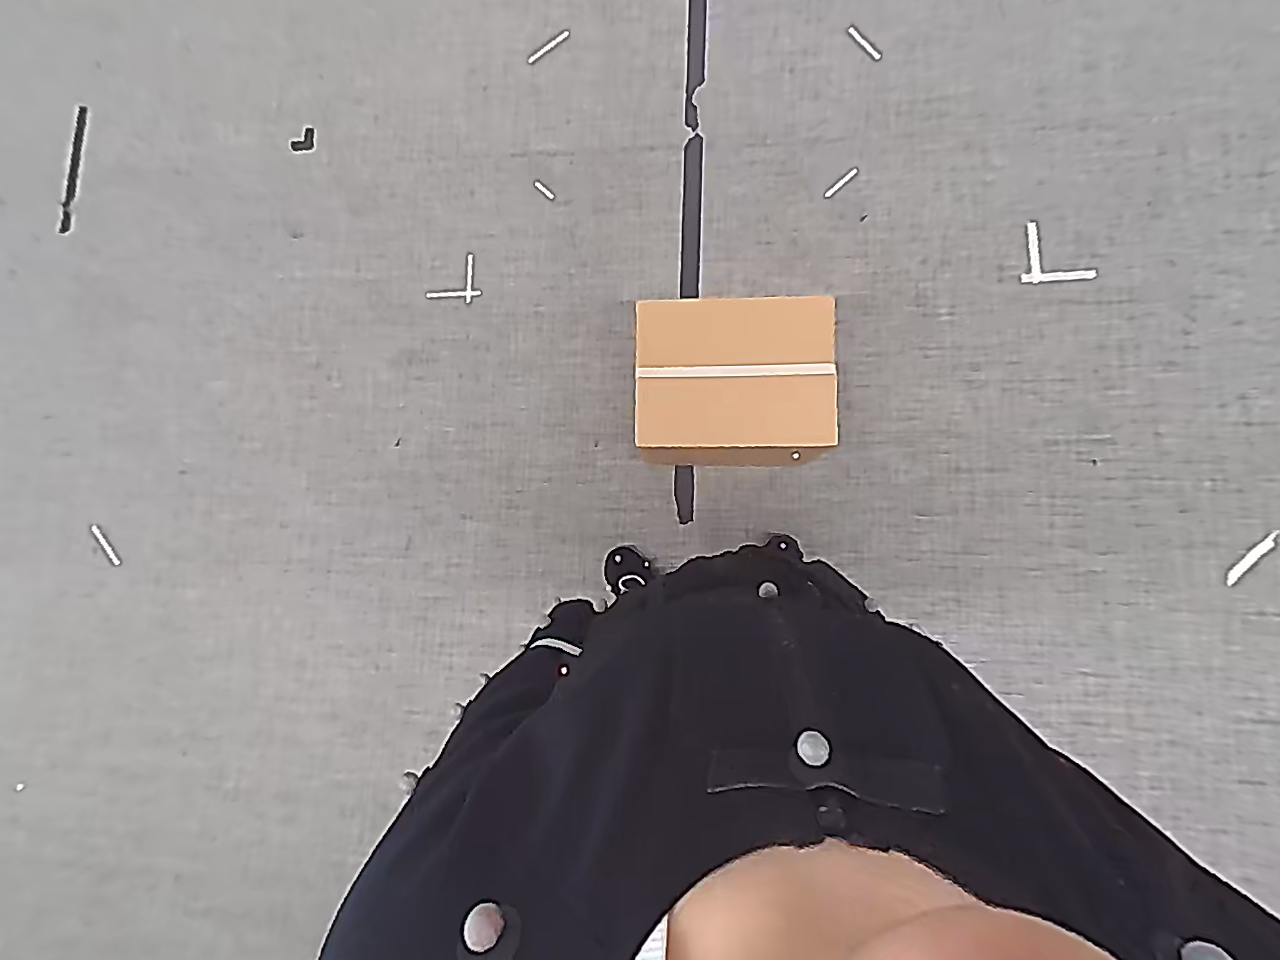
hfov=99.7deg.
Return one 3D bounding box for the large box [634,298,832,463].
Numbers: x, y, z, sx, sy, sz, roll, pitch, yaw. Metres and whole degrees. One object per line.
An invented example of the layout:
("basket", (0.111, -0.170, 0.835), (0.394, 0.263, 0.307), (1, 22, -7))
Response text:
("large box", (0.201, -0.207, 1.257), (0.408, 0.320, 0.320), (0, 84, 5))
